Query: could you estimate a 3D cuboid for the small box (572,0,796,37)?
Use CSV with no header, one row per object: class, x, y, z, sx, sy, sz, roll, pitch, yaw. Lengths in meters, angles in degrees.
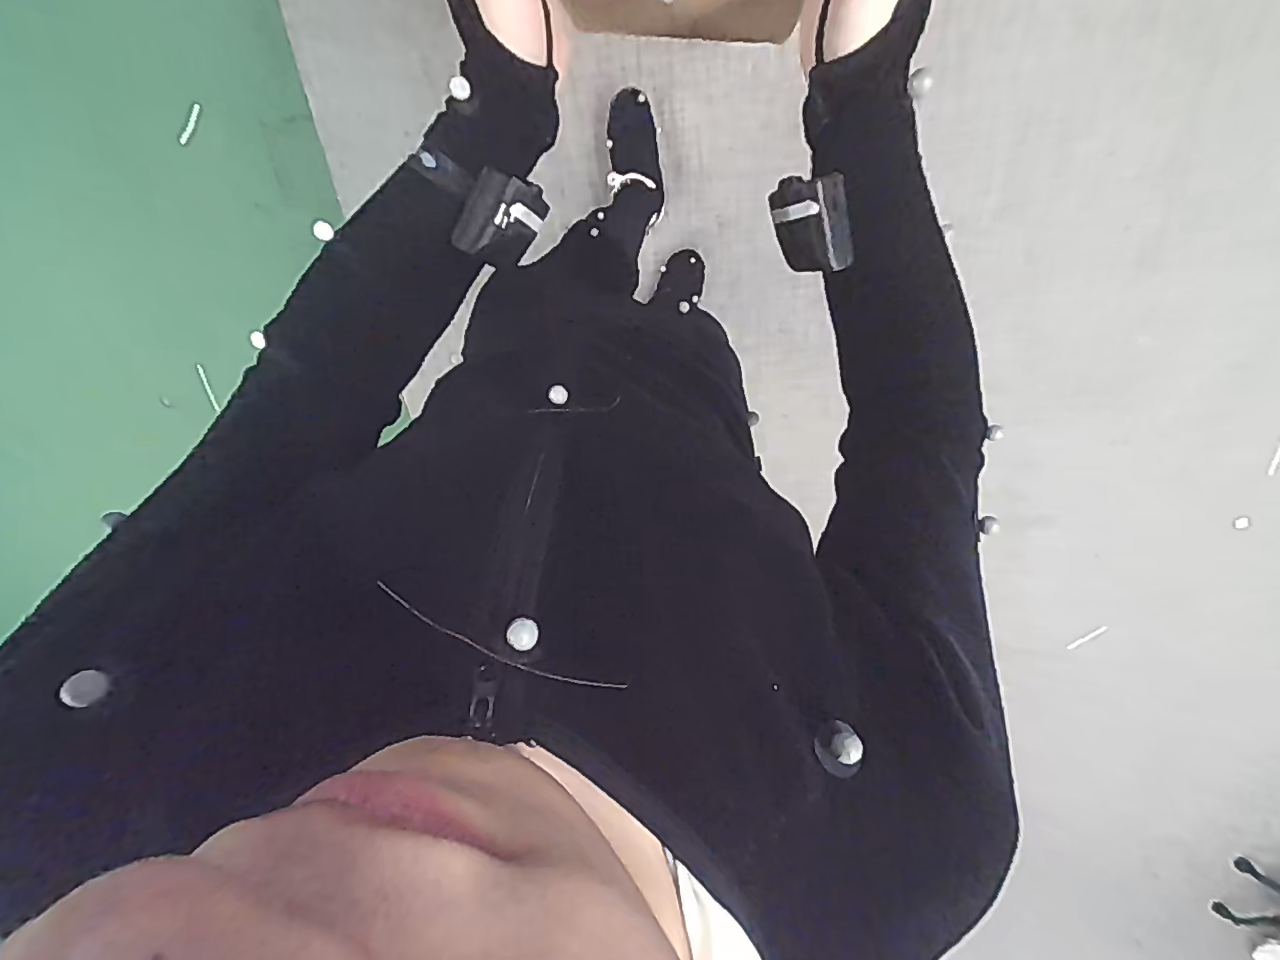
small box,0.032,-0.404,0.332,0.179,0.176,0.168,6,115,2
